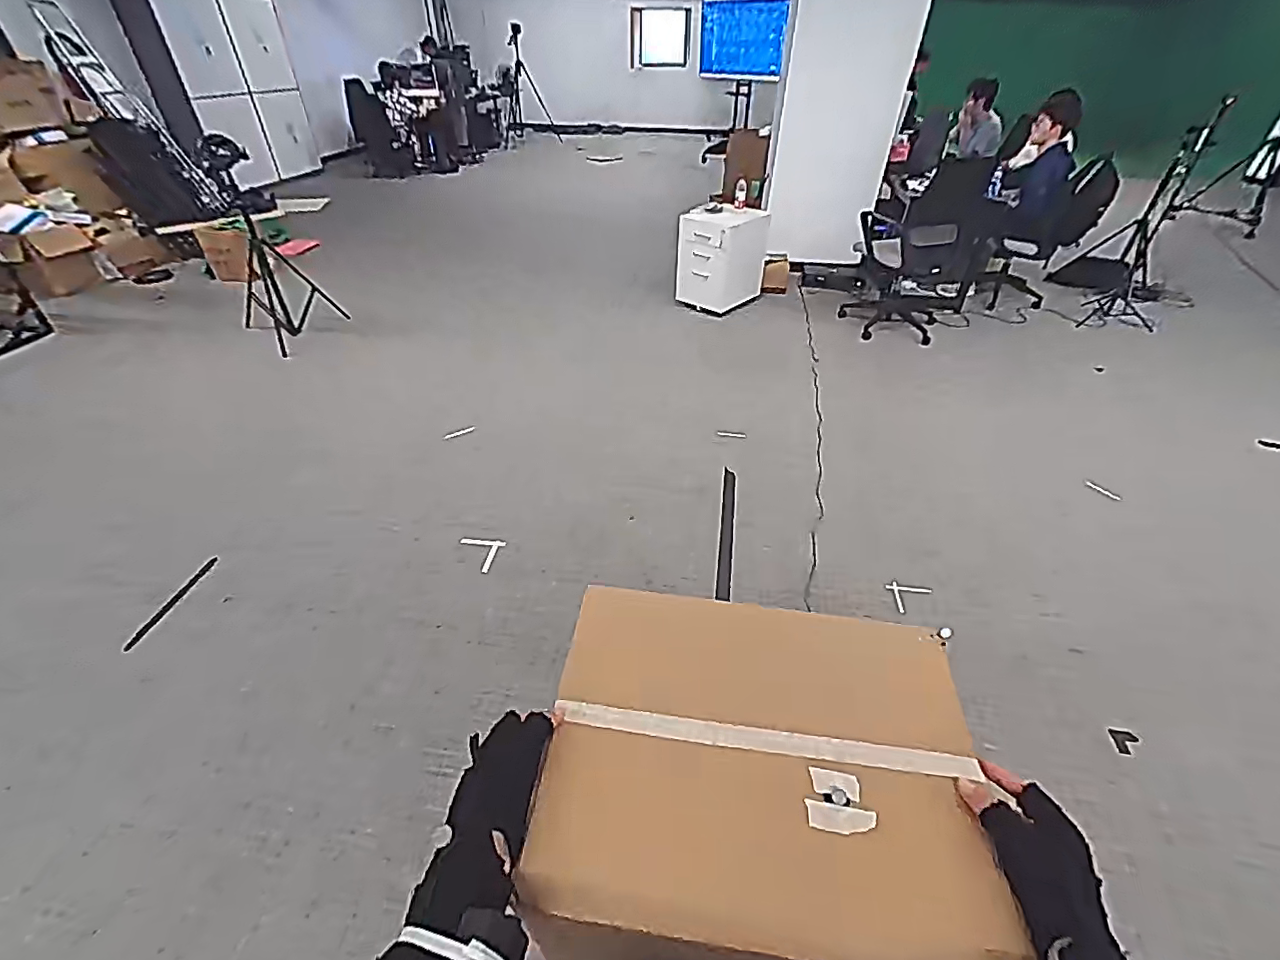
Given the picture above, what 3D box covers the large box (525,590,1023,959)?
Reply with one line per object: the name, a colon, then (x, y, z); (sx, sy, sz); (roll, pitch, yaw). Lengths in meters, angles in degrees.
large box: (0.115, 0.364, 0.636); (0.408, 0.320, 0.320); (6, 44, 6)
